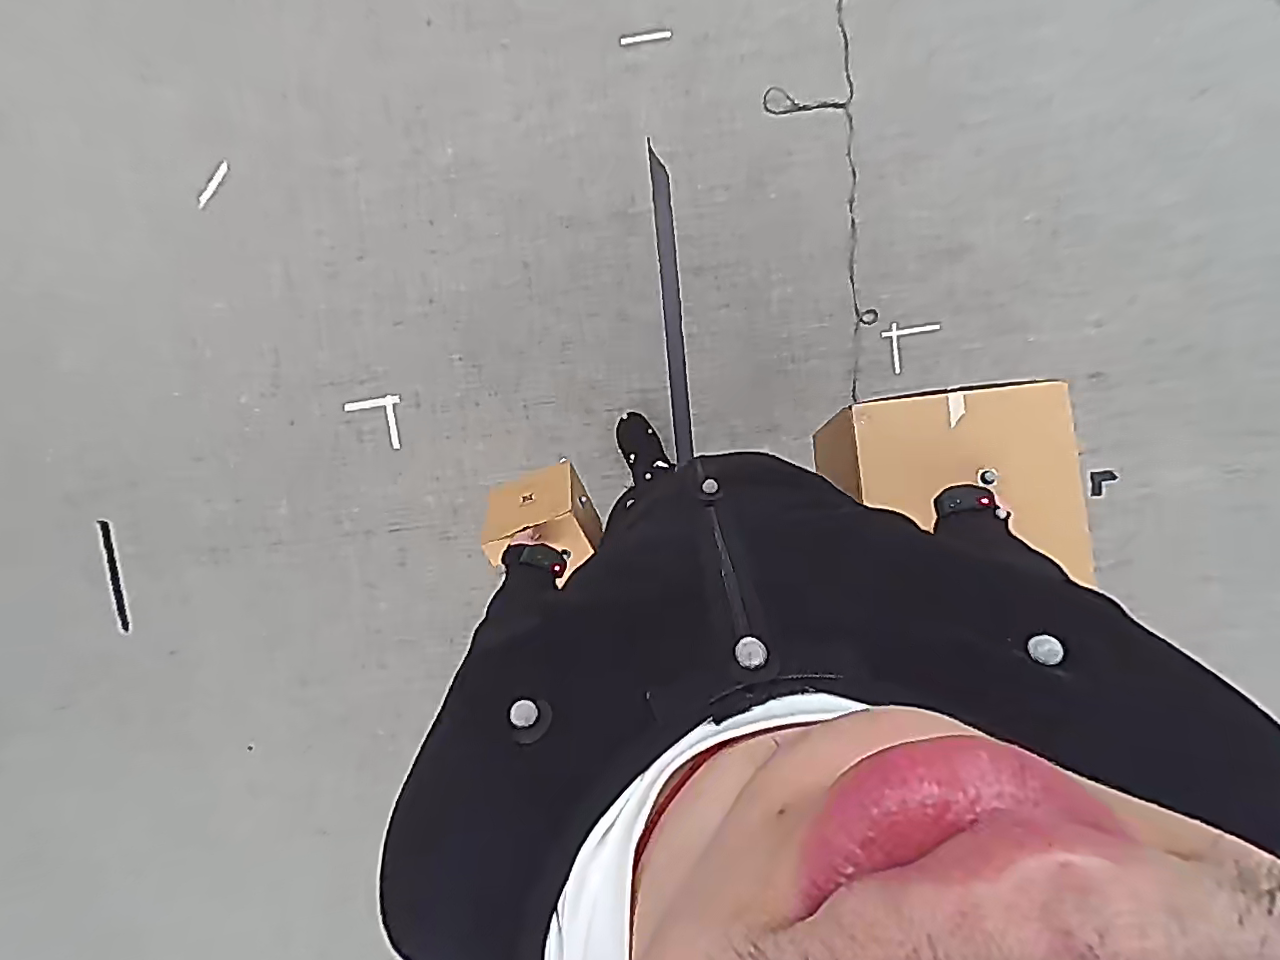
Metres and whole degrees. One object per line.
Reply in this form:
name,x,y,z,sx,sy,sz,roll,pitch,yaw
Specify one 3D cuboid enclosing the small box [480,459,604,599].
small box,-0.173,0.095,0.995,0.168,0.179,0.176,-20,123,3
